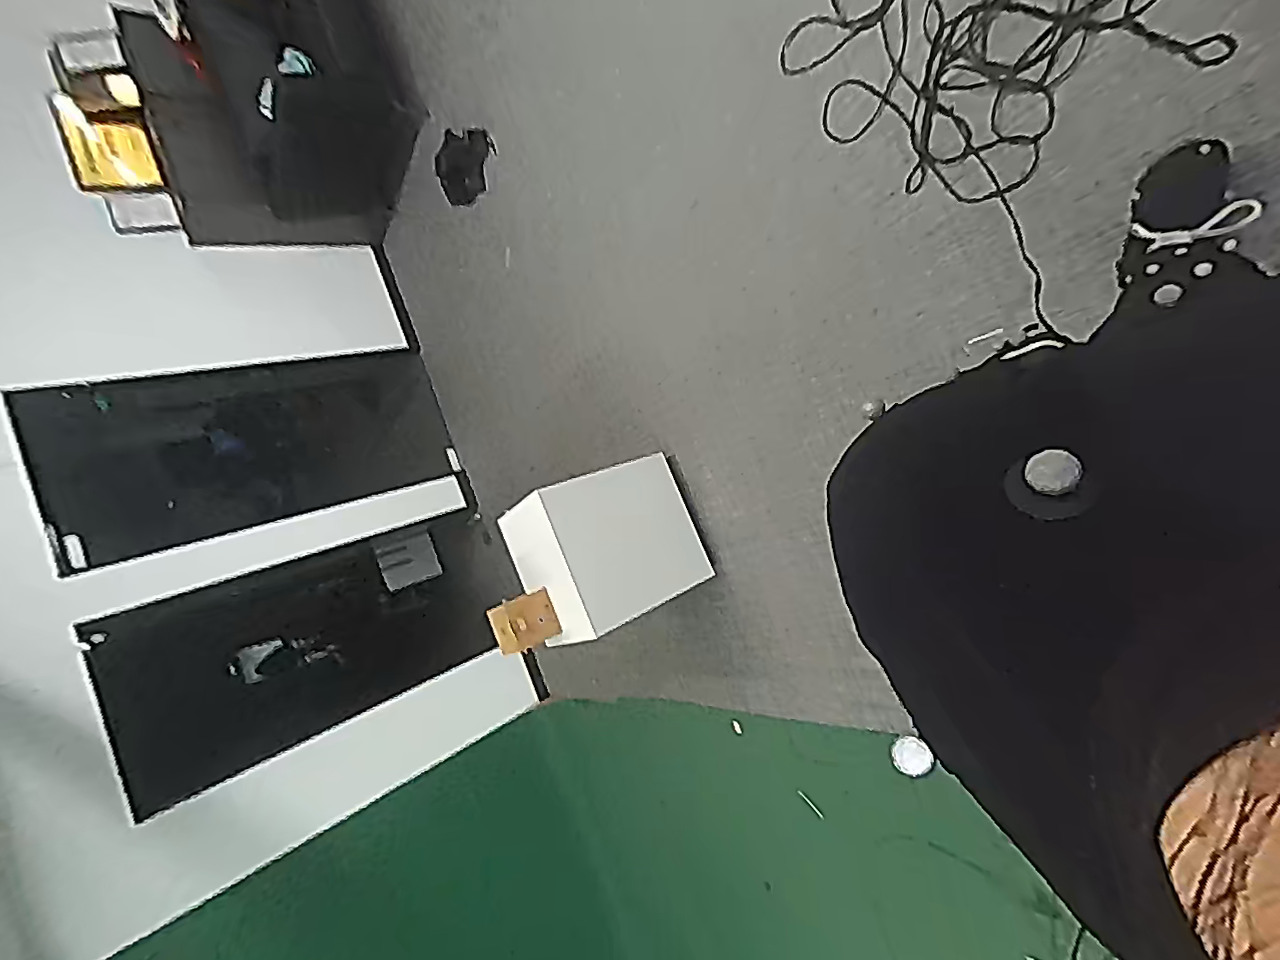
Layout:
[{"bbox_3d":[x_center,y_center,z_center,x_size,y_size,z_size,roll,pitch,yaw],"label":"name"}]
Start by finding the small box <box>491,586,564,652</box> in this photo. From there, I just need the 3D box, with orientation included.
[{"bbox_3d":[-0.391,0.484,1.885,0.179,0.176,0.168,-32,79,51],"label":"small box"}]
